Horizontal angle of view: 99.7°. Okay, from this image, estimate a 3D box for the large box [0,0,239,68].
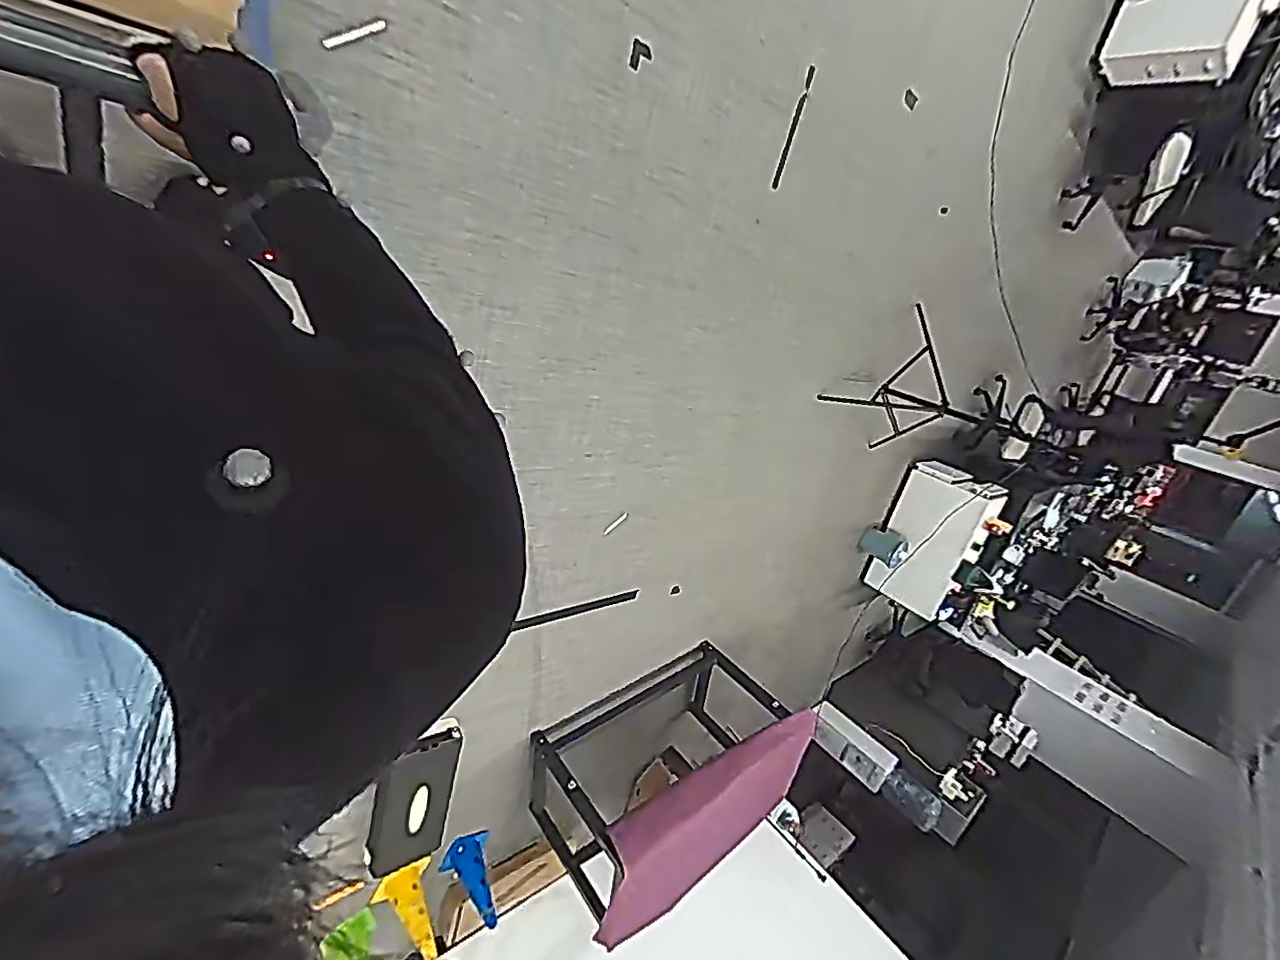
[{"bbox_3d":[-0.740,-0.746,0.624,0.408,0.320,0.320,-6,120,-42],"label":"large box"}]
